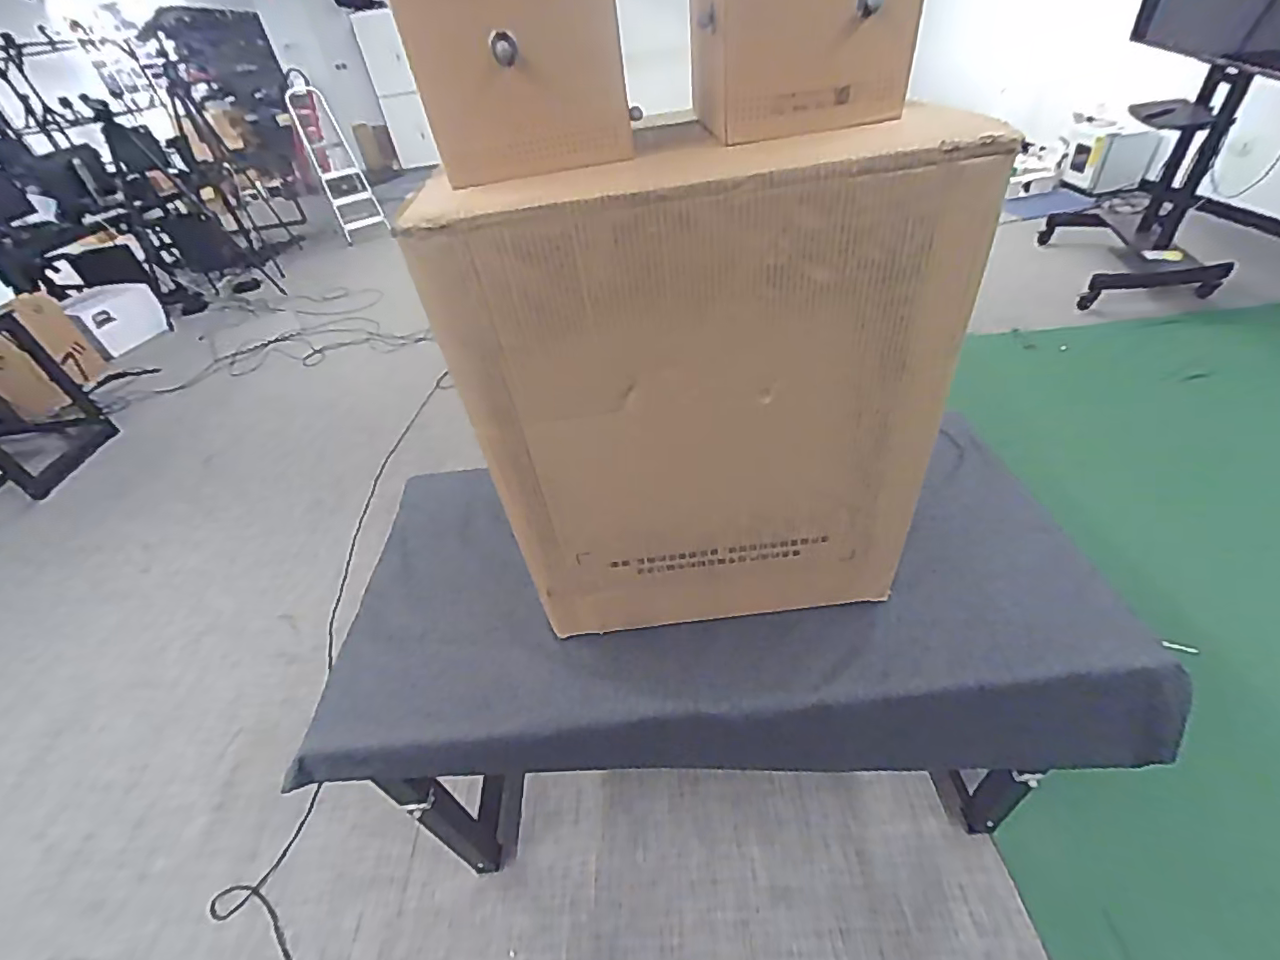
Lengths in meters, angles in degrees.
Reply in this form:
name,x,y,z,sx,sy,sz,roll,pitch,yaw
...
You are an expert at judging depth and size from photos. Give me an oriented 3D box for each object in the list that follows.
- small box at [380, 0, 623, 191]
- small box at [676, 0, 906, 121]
name,x,y,z,sx,sy,sz,roll,pitch,yaw
small box,-0.114,-0.396,0.508,0.179,0.176,0.168,-11,44,1
small box,0.130,-0.445,0.490,0.168,0.176,0.179,-12,45,-3
